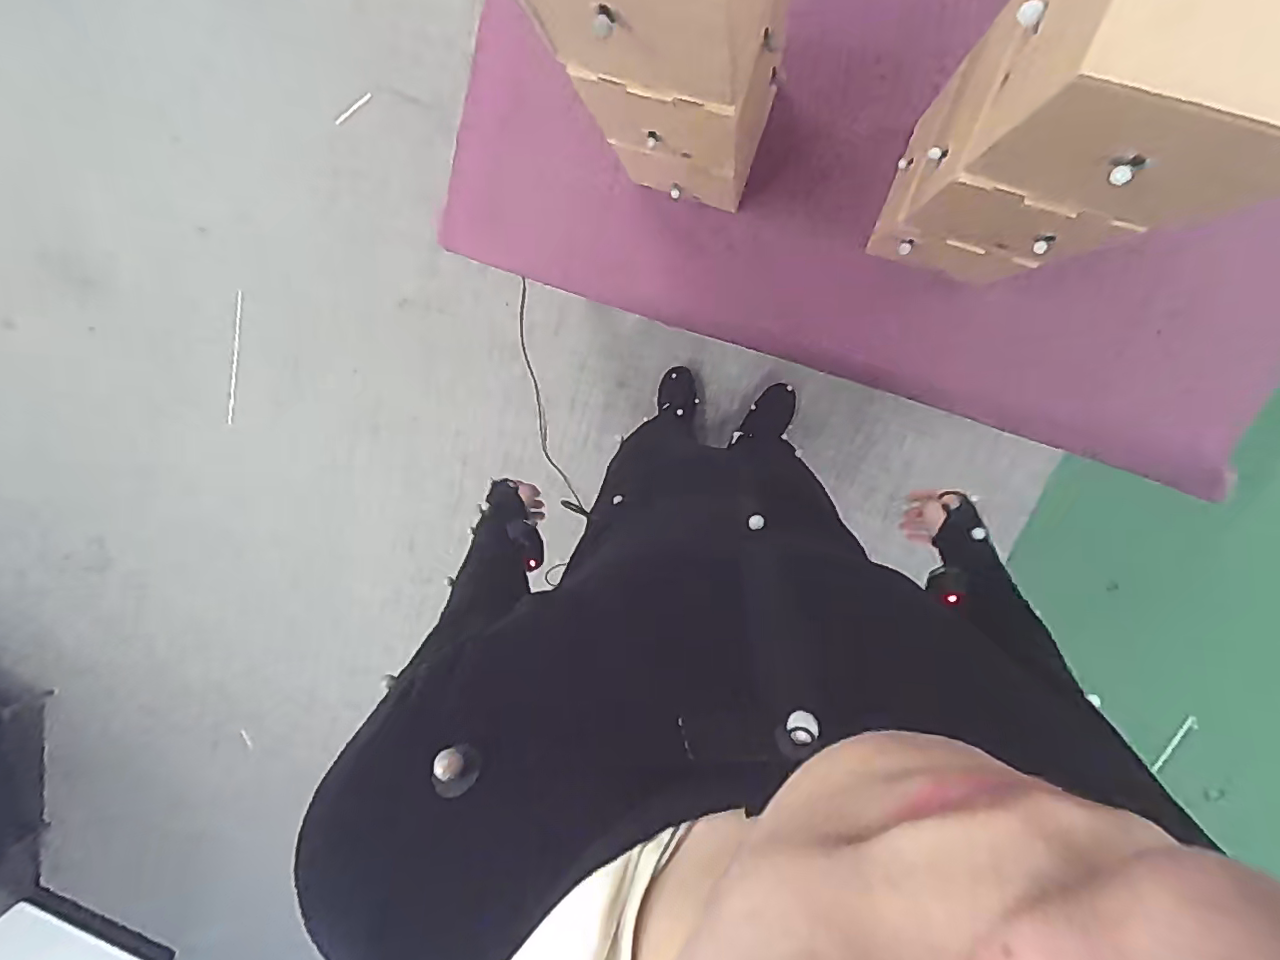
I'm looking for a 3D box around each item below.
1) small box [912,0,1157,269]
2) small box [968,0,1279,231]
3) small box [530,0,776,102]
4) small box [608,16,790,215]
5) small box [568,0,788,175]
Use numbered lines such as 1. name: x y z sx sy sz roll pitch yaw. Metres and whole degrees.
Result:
1. small box: 0.383 -0.315 0.505 0.168 0.176 0.179 20 105 5
2. small box: 0.361 -0.279 0.347 0.179 0.176 0.168 21 105 6
3. small box: 0.015 -0.407 0.383 0.179 0.176 0.168 19 106 6
4. small box: 0.076 -0.473 0.696 0.168 0.176 0.179 21 105 6
5. small box: 0.047 -0.440 0.540 0.168 0.176 0.179 19 106 5
